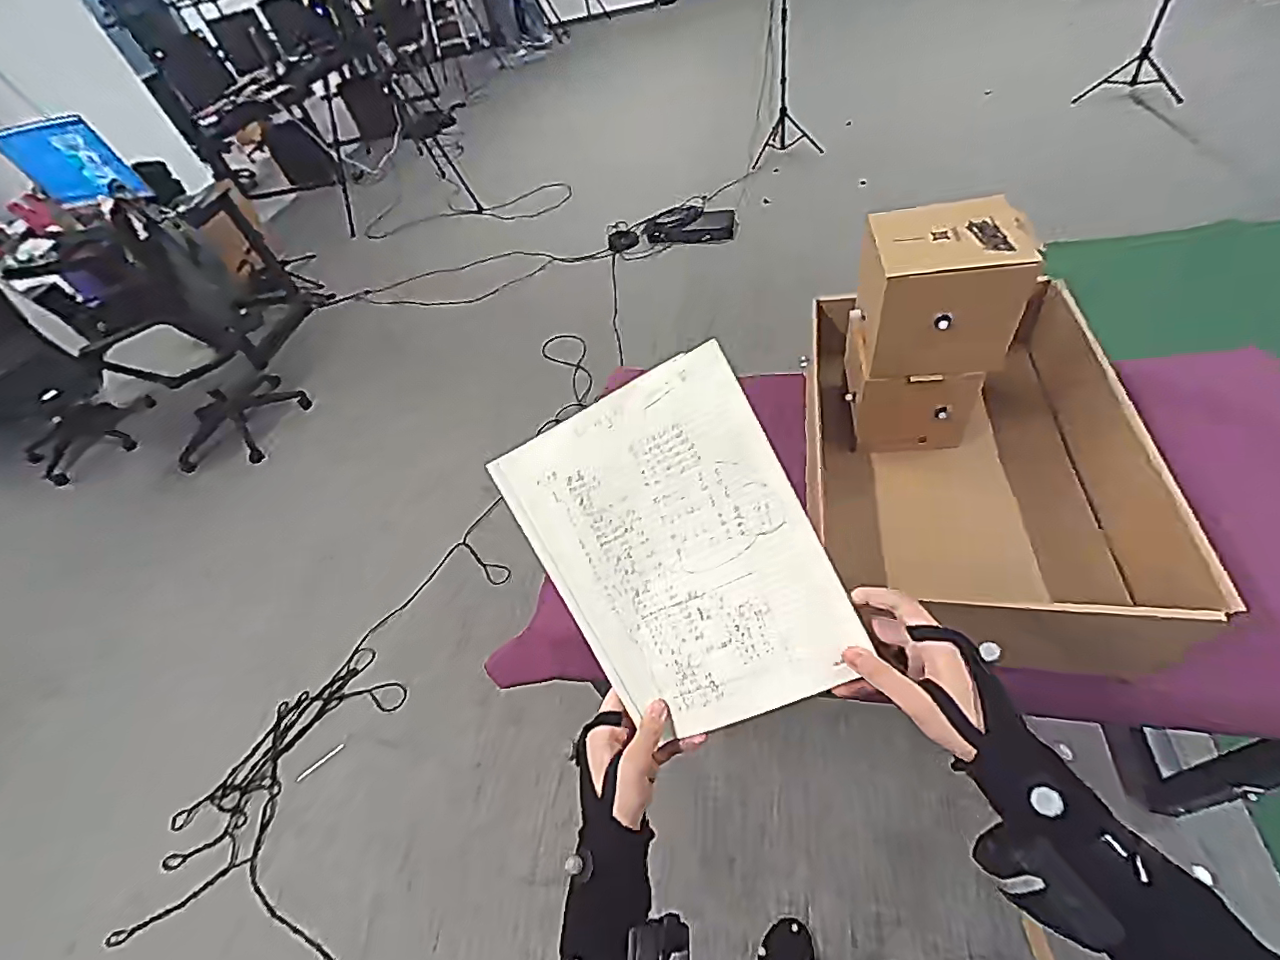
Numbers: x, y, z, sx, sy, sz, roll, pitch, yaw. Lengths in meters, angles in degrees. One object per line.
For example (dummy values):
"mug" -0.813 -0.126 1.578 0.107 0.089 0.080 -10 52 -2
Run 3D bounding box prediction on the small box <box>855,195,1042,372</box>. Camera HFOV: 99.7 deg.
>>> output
"small box" 0.414 -0.270 0.762 0.179 0.176 0.168 -1 51 13
